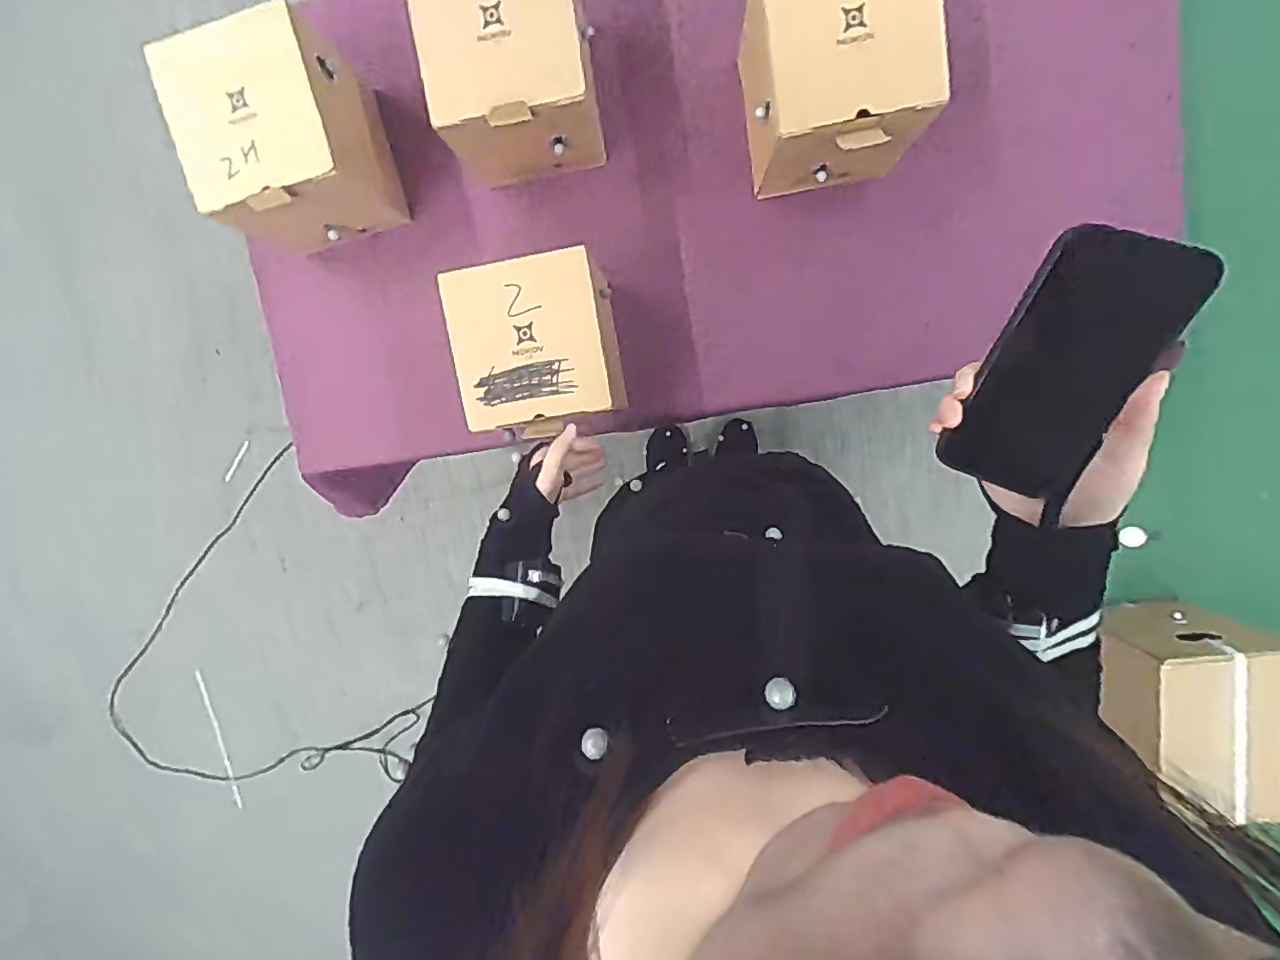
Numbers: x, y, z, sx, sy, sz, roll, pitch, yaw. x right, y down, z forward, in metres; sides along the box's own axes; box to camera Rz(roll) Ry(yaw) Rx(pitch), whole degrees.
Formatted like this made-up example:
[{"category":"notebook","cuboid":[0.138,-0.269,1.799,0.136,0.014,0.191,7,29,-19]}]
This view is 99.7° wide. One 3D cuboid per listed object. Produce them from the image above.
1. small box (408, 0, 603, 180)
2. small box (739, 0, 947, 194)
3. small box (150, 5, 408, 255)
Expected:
[{"category":"small box","cuboid":[-0.143,-0.470,0.622,0.168,0.176,0.179,-8,98,5]},{"category":"small box","cuboid":[0.209,-0.450,0.597,0.168,0.176,0.179,-9,98,6]},{"category":"small box","cuboid":[-0.414,-0.399,0.651,0.168,0.176,0.179,-14,97,6]}]
